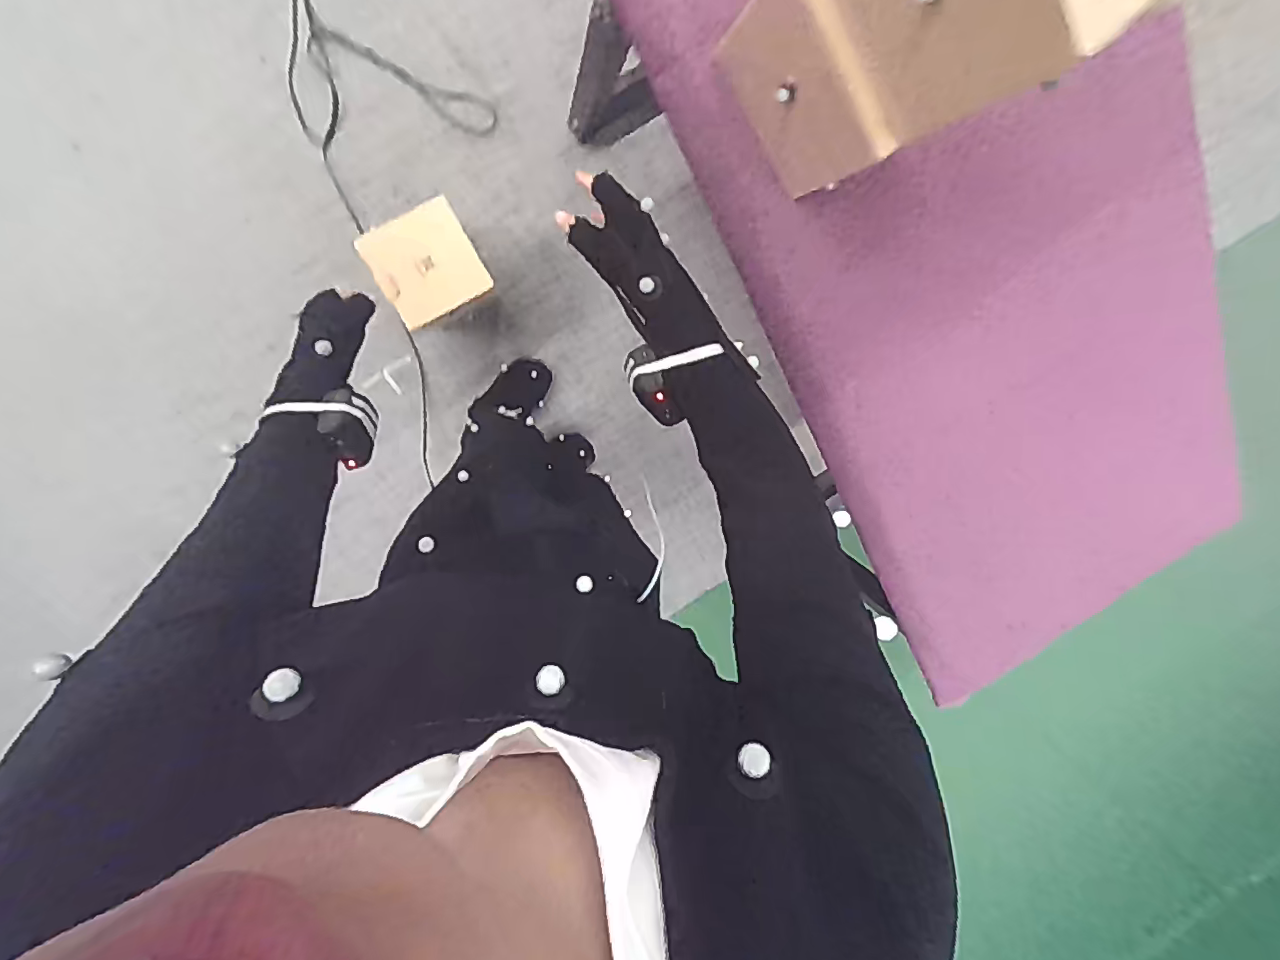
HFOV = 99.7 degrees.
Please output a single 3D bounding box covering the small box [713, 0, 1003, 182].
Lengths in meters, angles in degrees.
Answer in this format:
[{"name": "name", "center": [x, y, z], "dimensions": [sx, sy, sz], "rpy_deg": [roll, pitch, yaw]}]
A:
[{"name": "small box", "center": [0.203, -0.428, 0.539], "dimensions": [0.168, 0.176, 0.179], "rpy_deg": [-39, 111, -1]}]
